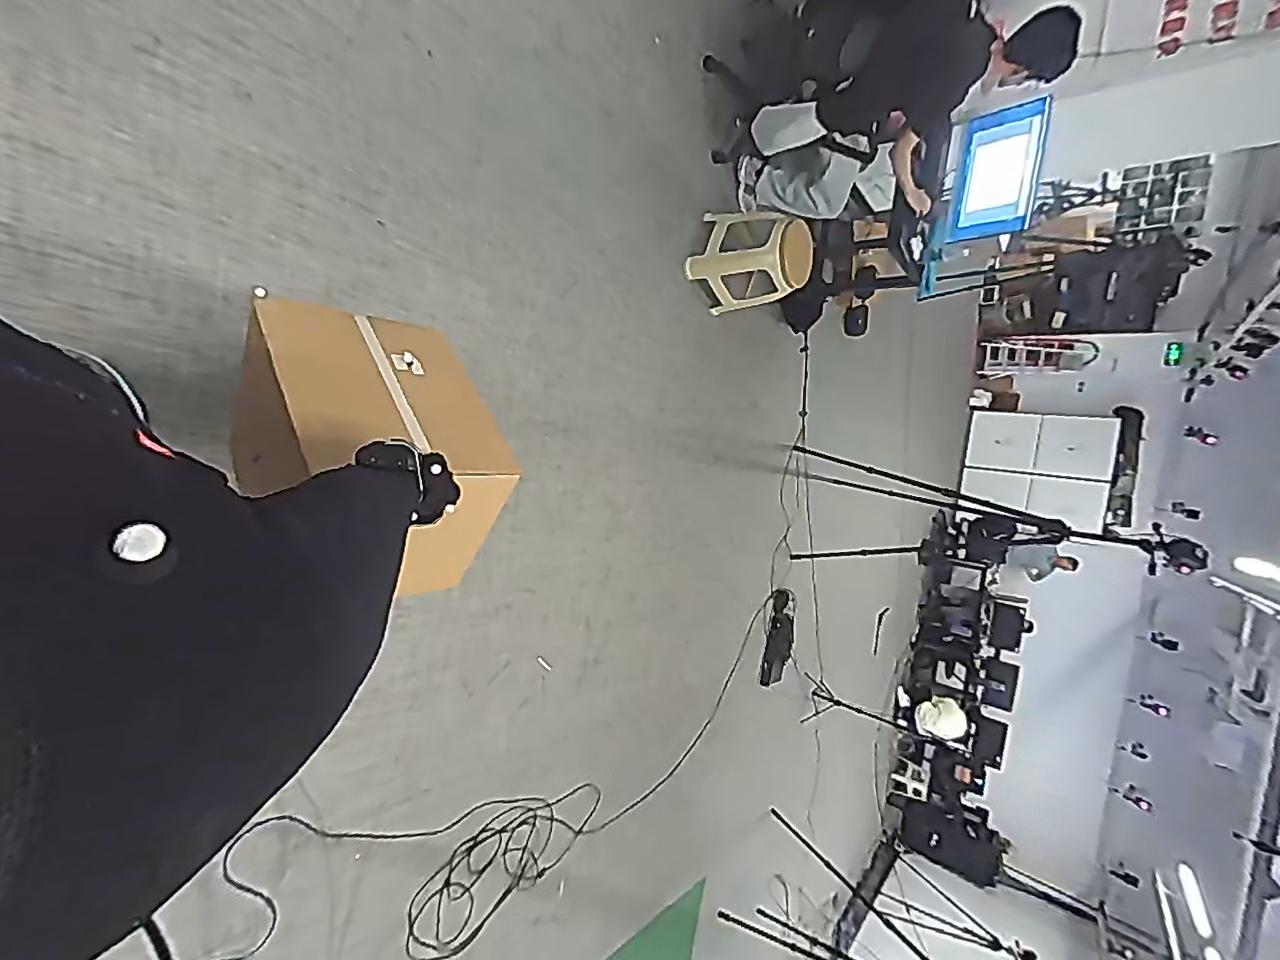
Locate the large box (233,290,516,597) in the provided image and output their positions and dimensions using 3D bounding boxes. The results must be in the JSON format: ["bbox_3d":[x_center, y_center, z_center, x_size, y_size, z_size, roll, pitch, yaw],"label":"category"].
[{"bbox_3d":[-0.487,-0.063,0.959,0.320,0.408,0.320,-1,137,-47],"label":"large box"}]
